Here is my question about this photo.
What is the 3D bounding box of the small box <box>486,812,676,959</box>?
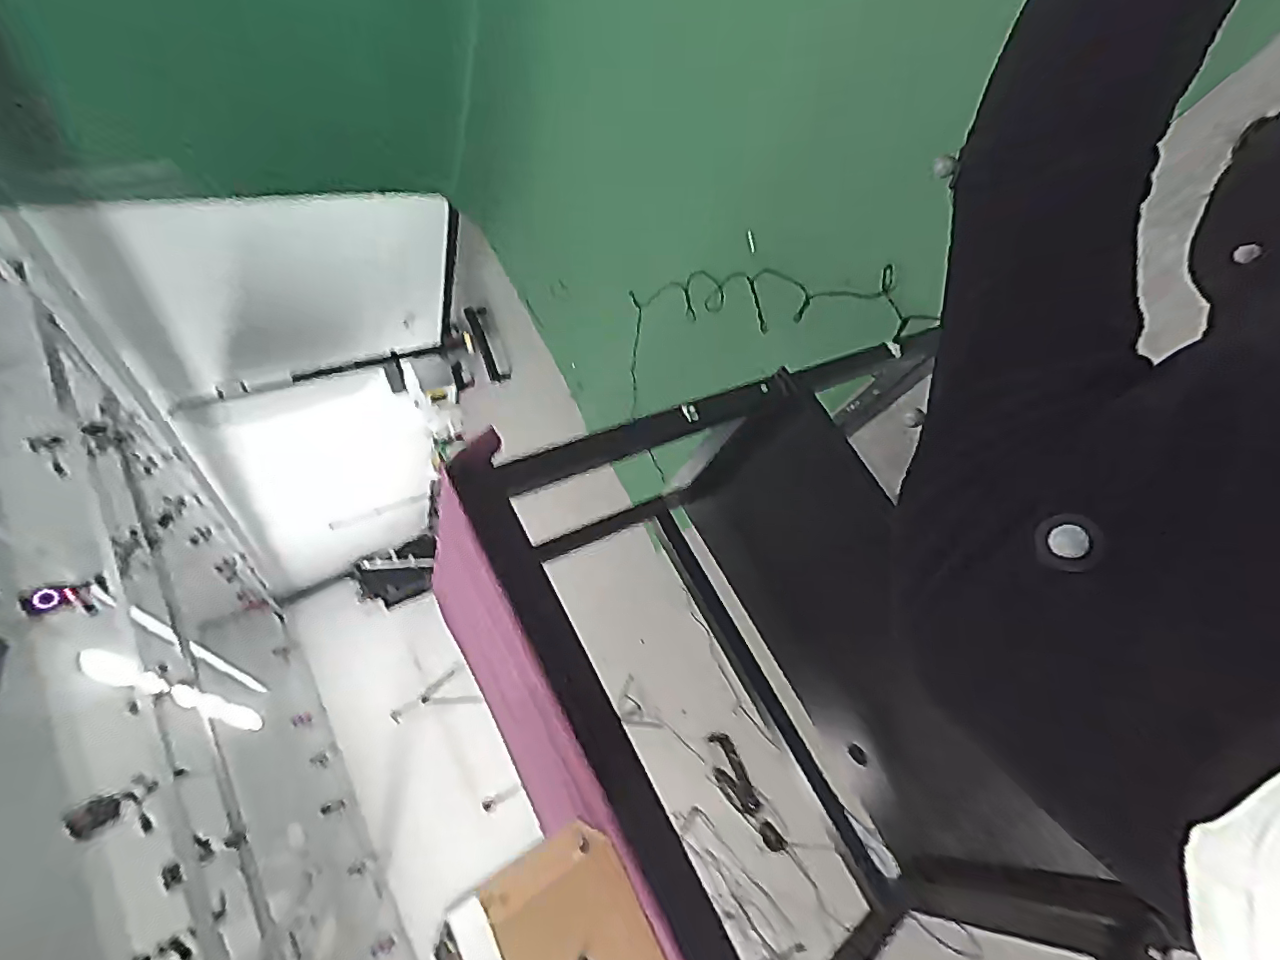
[{"bbox_3d":[-0.083,0.582,0.721,0.179,0.176,0.168,61,150,11],"label":"small box"}]
